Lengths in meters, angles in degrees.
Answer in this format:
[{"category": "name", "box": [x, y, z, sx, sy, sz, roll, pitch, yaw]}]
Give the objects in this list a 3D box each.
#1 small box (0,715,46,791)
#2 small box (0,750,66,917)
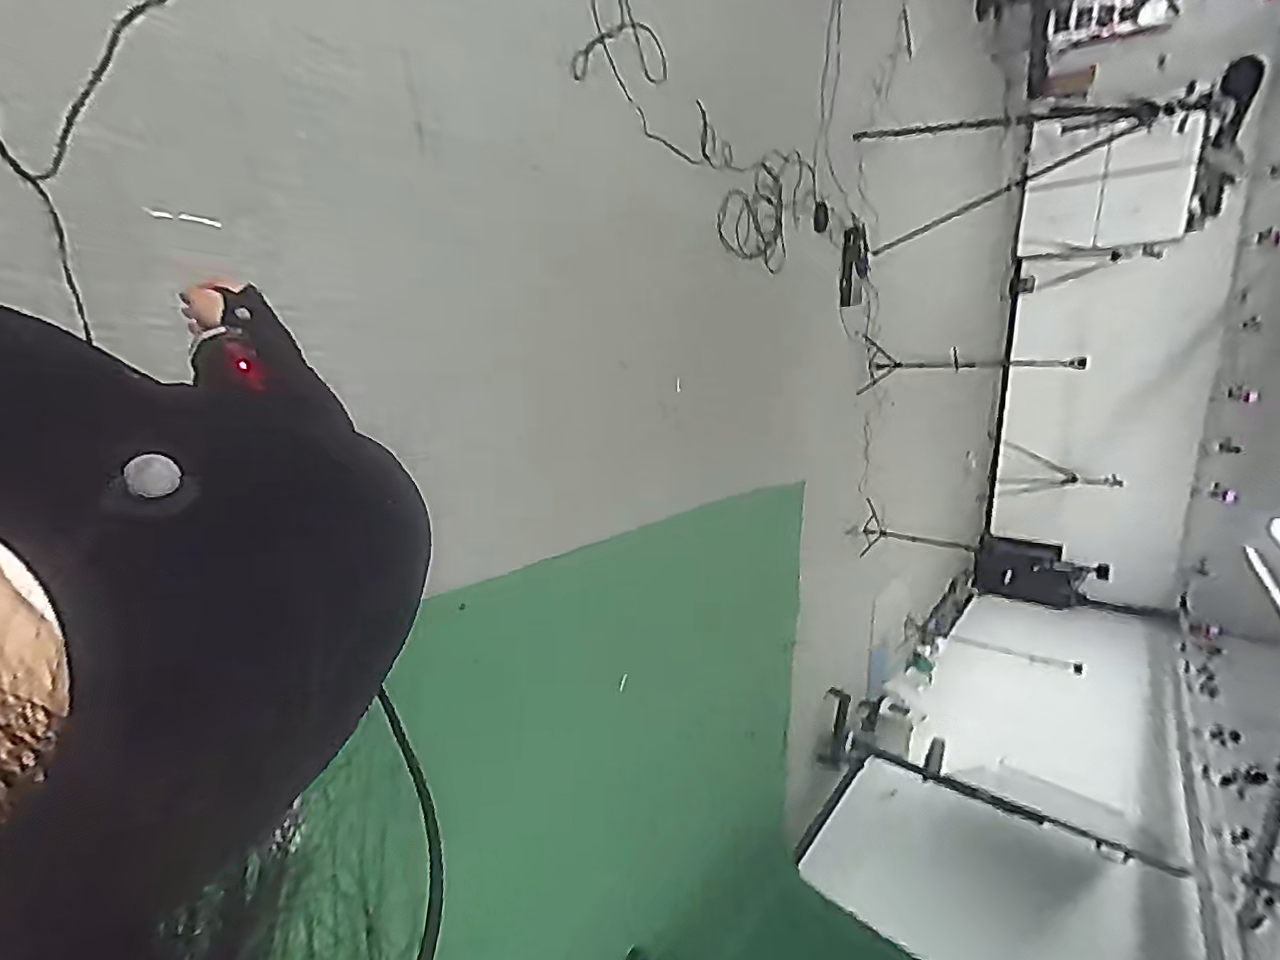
[{"category": "small box", "box": [-1.131, 0.534, 0.914, 0.168, 0.176, 0.179, -5, 100, -50]}, {"category": "small box", "box": [-1.006, 0.548, 0.810, 0.168, 0.176, 0.179, -20, 109, -48]}]
